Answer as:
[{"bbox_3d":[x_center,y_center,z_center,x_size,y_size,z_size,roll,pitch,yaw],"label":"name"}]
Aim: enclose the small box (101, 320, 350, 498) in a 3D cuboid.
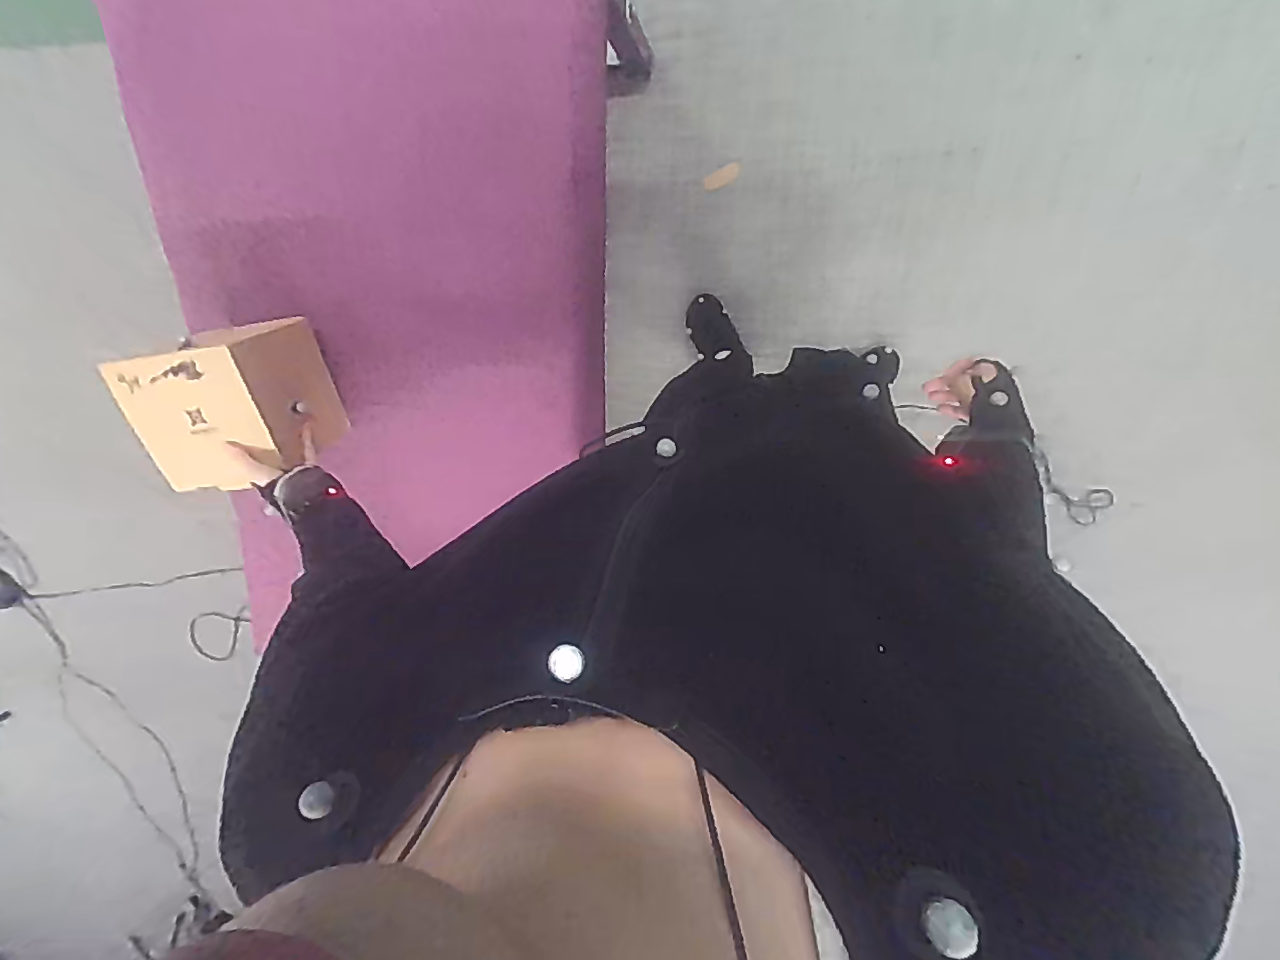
[{"bbox_3d":[-0.530,-0.100,0.728,0.168,0.176,0.179,-8,119,4],"label":"small box"}]
